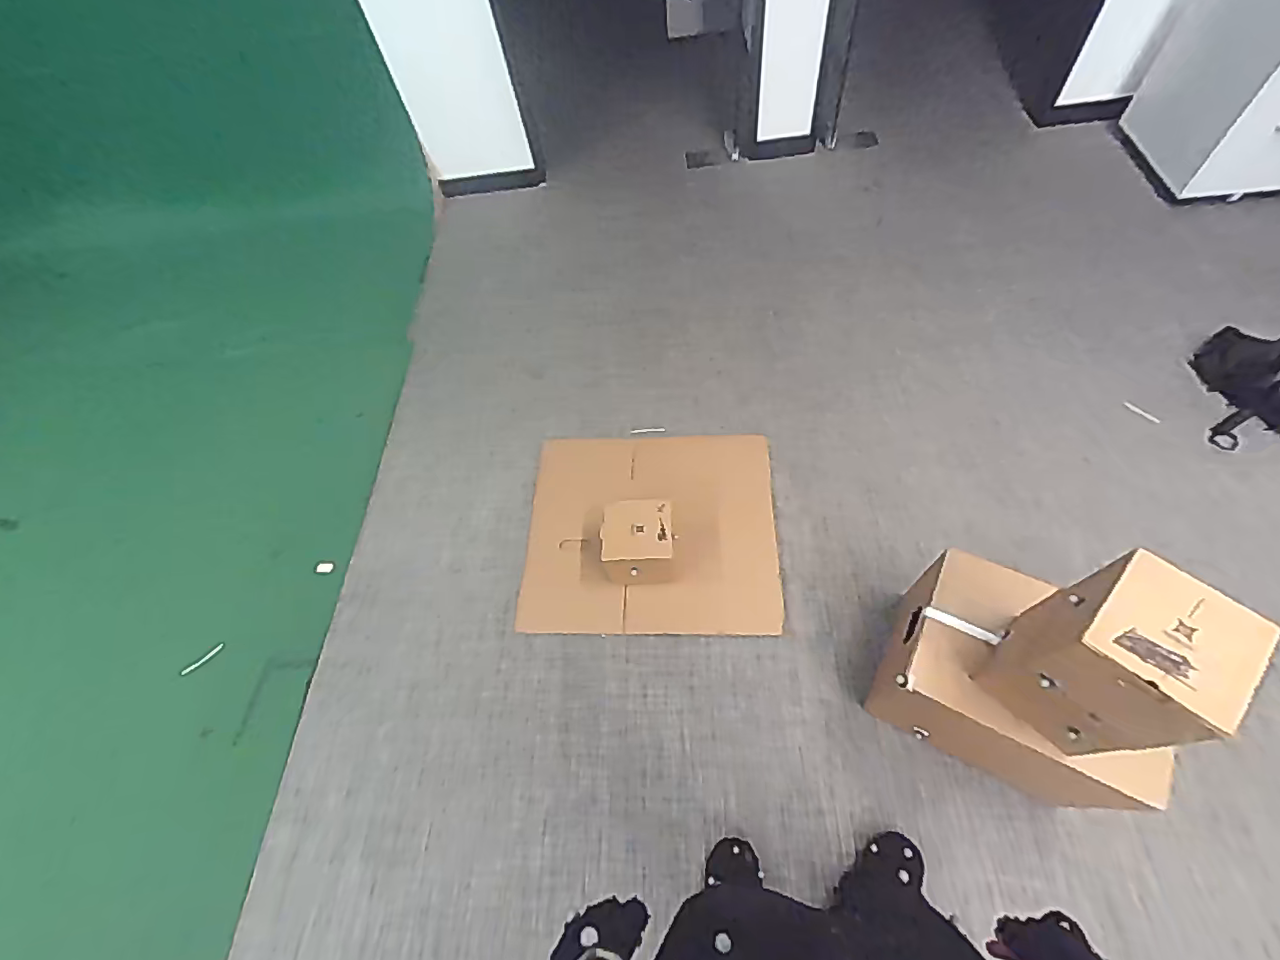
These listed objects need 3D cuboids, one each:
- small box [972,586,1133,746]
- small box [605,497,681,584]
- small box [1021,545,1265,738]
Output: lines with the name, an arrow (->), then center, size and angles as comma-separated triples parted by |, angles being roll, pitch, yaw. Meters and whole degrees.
small box -> 0.697, 0.311, 0.890 | 0.168, 0.176, 0.179 | -43, 62, -18
small box -> 0.009, 0.165, 1.419 | 0.179, 0.176, 0.168 | -6, 57, 6
small box -> 0.673, 0.230, 0.749 | 0.168, 0.176, 0.179 | 36, 70, 24
